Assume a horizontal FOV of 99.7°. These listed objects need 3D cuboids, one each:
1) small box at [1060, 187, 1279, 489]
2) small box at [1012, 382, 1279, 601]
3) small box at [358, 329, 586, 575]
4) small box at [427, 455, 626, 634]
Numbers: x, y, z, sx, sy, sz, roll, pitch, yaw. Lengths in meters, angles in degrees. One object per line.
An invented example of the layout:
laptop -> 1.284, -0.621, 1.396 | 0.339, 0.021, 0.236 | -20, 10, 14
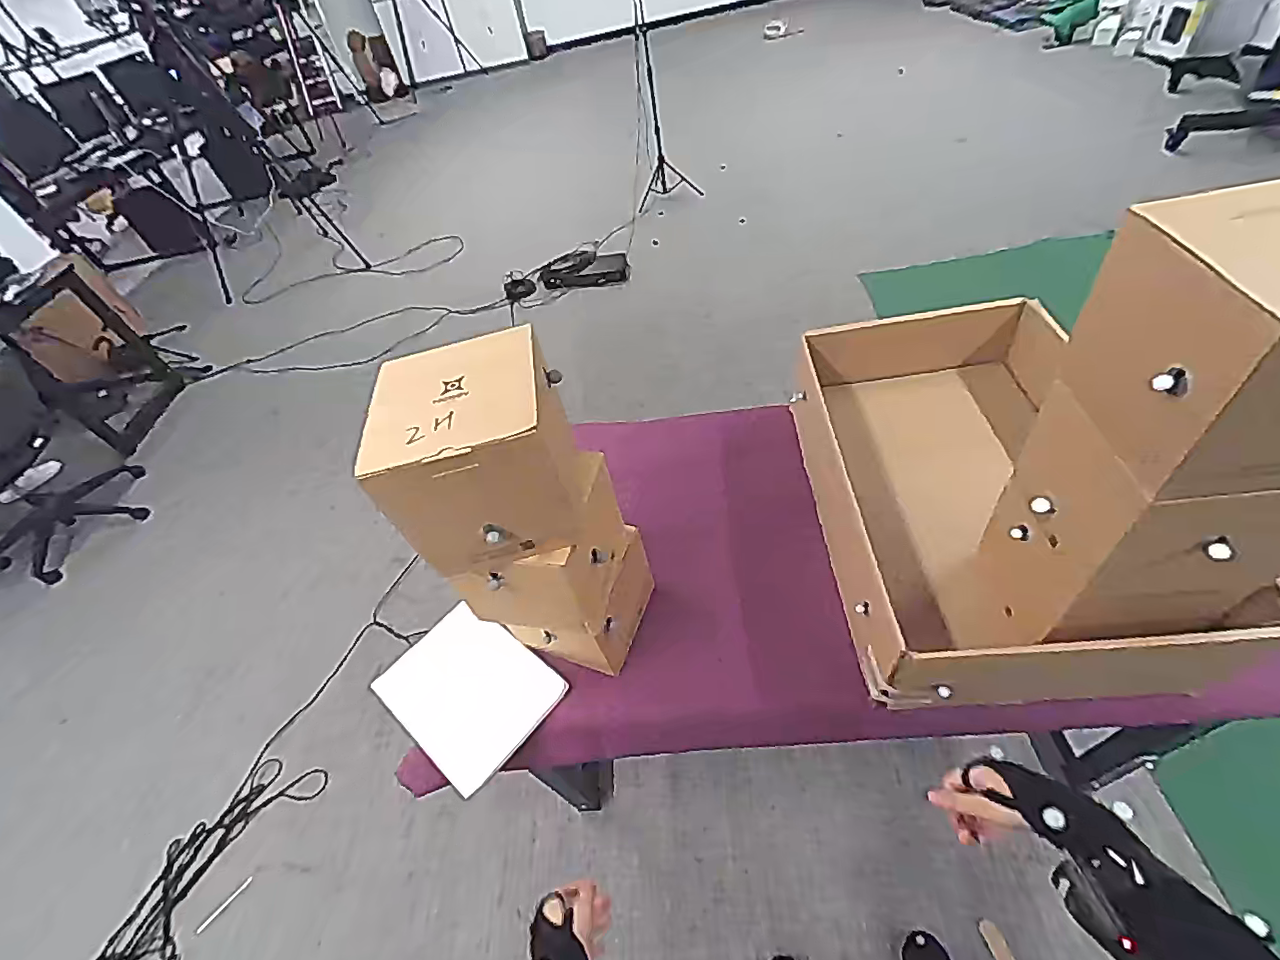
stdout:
small box -> 0.483, -0.106, 0.425 | 0.168, 0.176, 0.179 | -6, 47, 10
small box -> 0.517, 0.006, 0.539 | 0.179, 0.176, 0.168 | -7, 47, 11
small box -> -0.162, -0.028, 0.576 | 0.168, 0.176, 0.179 | -14, 47, 2
small box -> -0.127, 0.081, 0.694 | 0.179, 0.176, 0.168 | 3, 50, 16
